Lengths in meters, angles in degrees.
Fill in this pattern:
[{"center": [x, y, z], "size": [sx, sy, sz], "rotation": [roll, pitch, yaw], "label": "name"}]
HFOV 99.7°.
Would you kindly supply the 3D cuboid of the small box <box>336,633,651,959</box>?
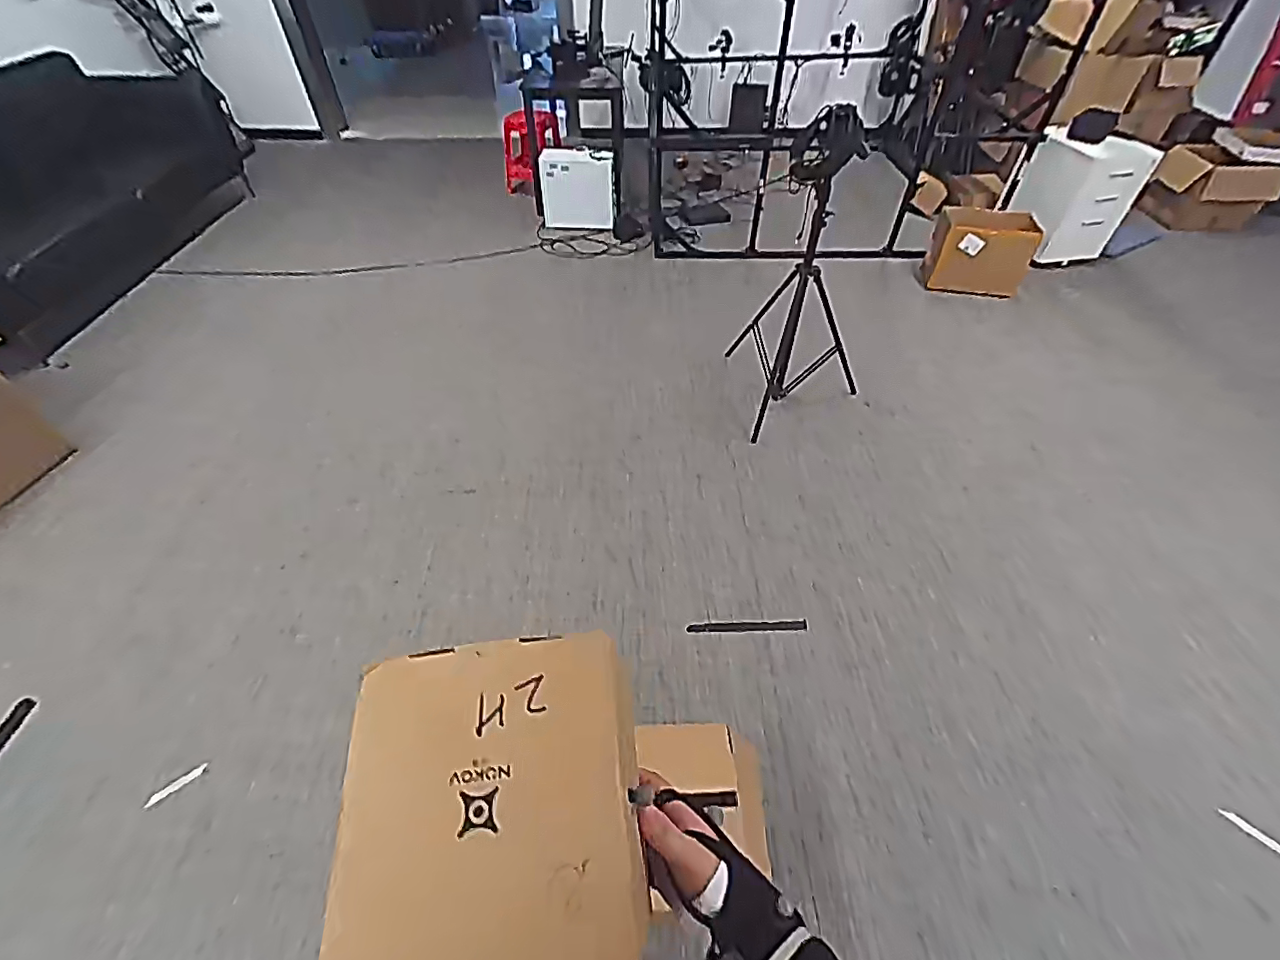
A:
[{"center": [-0.085, 0.228, 0.393], "size": [0.168, 0.176, 0.179], "rotation": [-7, 58, -1], "label": "small box"}]
